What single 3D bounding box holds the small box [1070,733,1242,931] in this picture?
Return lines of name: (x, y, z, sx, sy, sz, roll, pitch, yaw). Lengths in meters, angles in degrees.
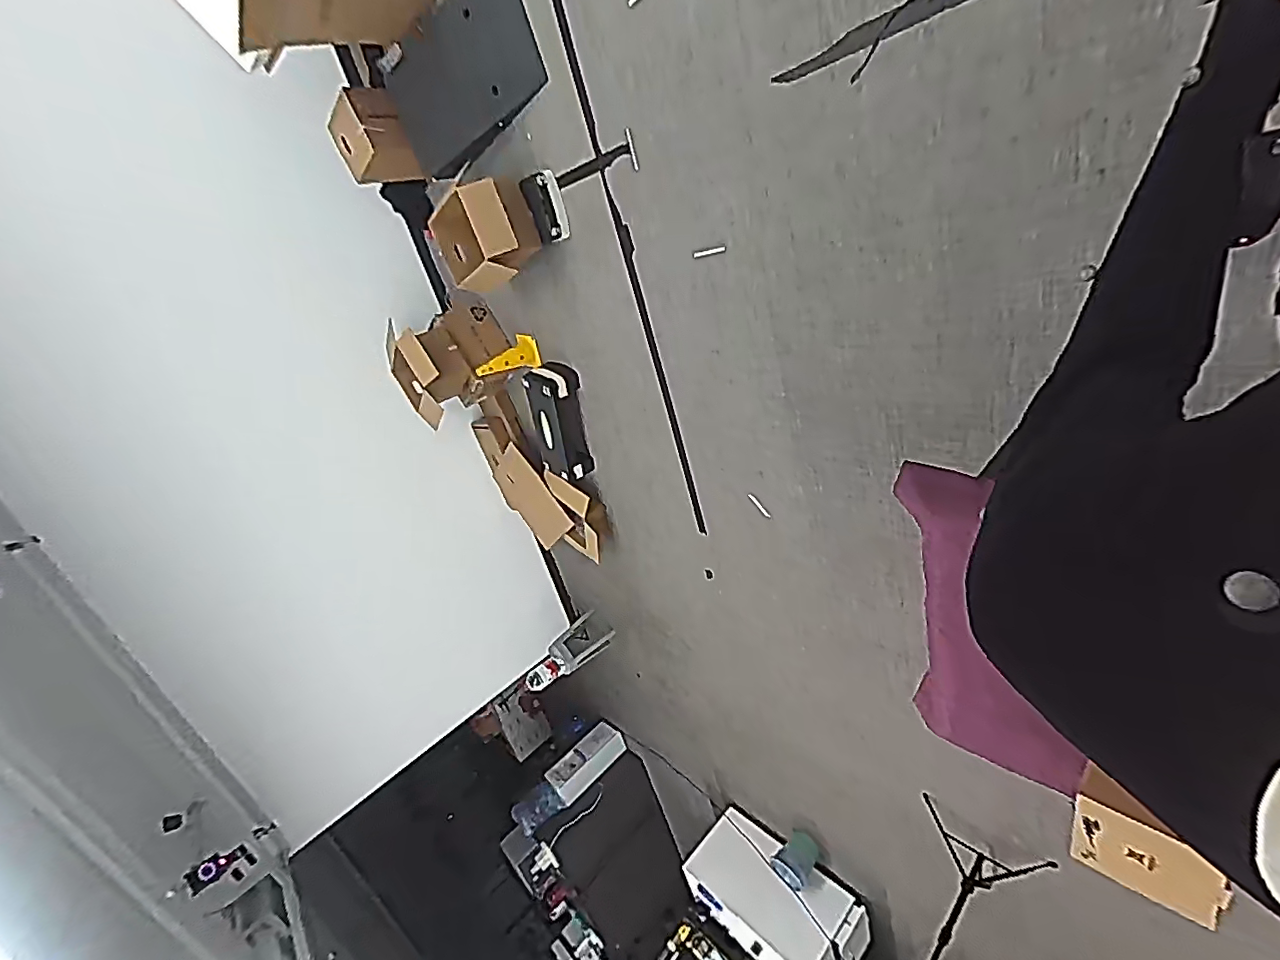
small box: (0.833, 0.553, 0.877, 0.179, 0.176, 0.168, 12, 124, 47)
